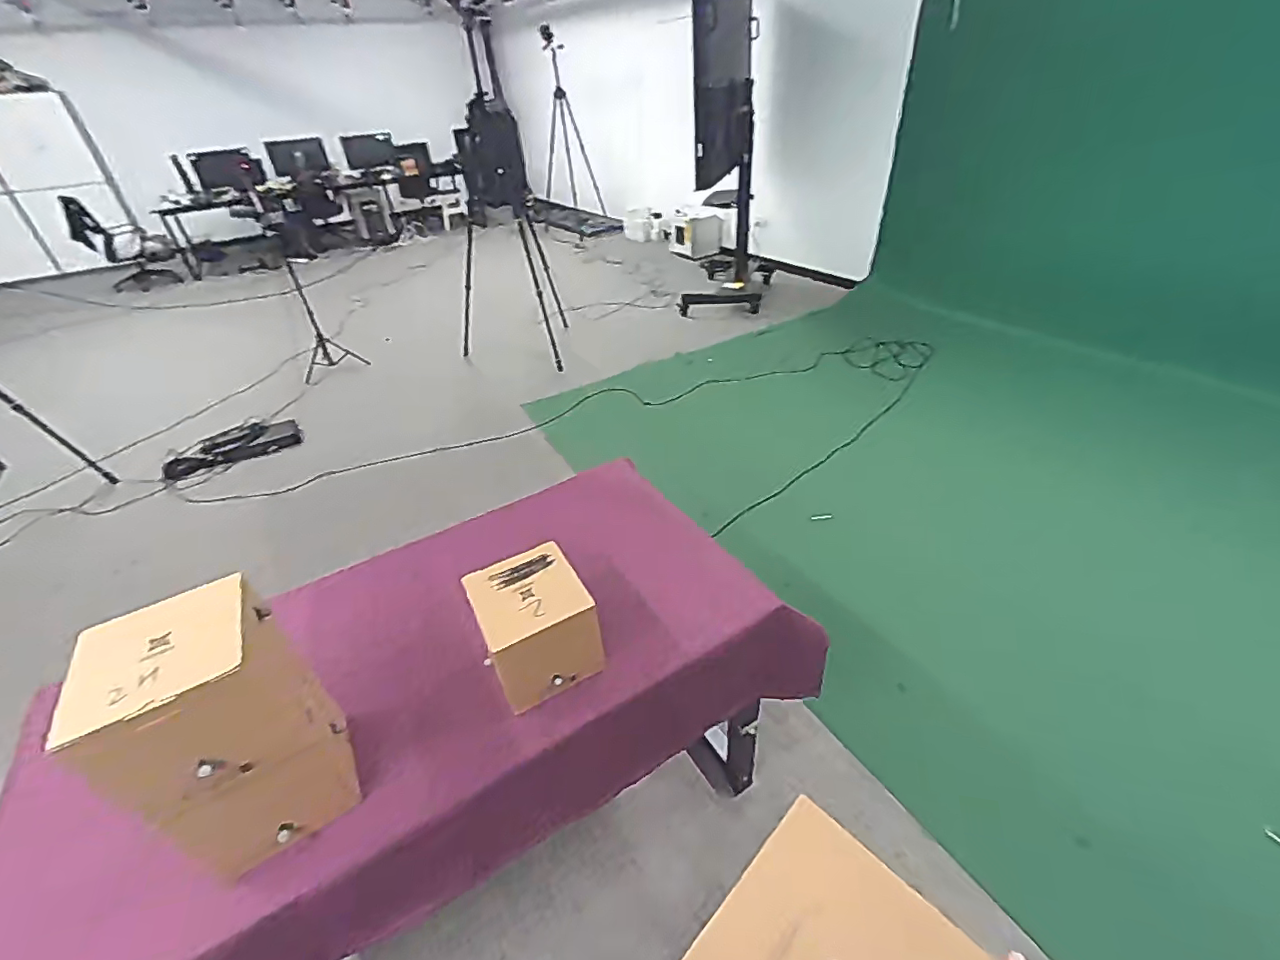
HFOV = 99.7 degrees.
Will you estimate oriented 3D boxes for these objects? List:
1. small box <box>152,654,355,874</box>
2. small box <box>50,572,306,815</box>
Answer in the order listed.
[{"bbox_3d":[-0.516,0.386,0.745,0.179,0.176,0.168,-24,40,-25],"label":"small box"},{"bbox_3d":[-0.529,0.251,0.650,0.168,0.176,0.179,-23,41,-23],"label":"small box"}]
